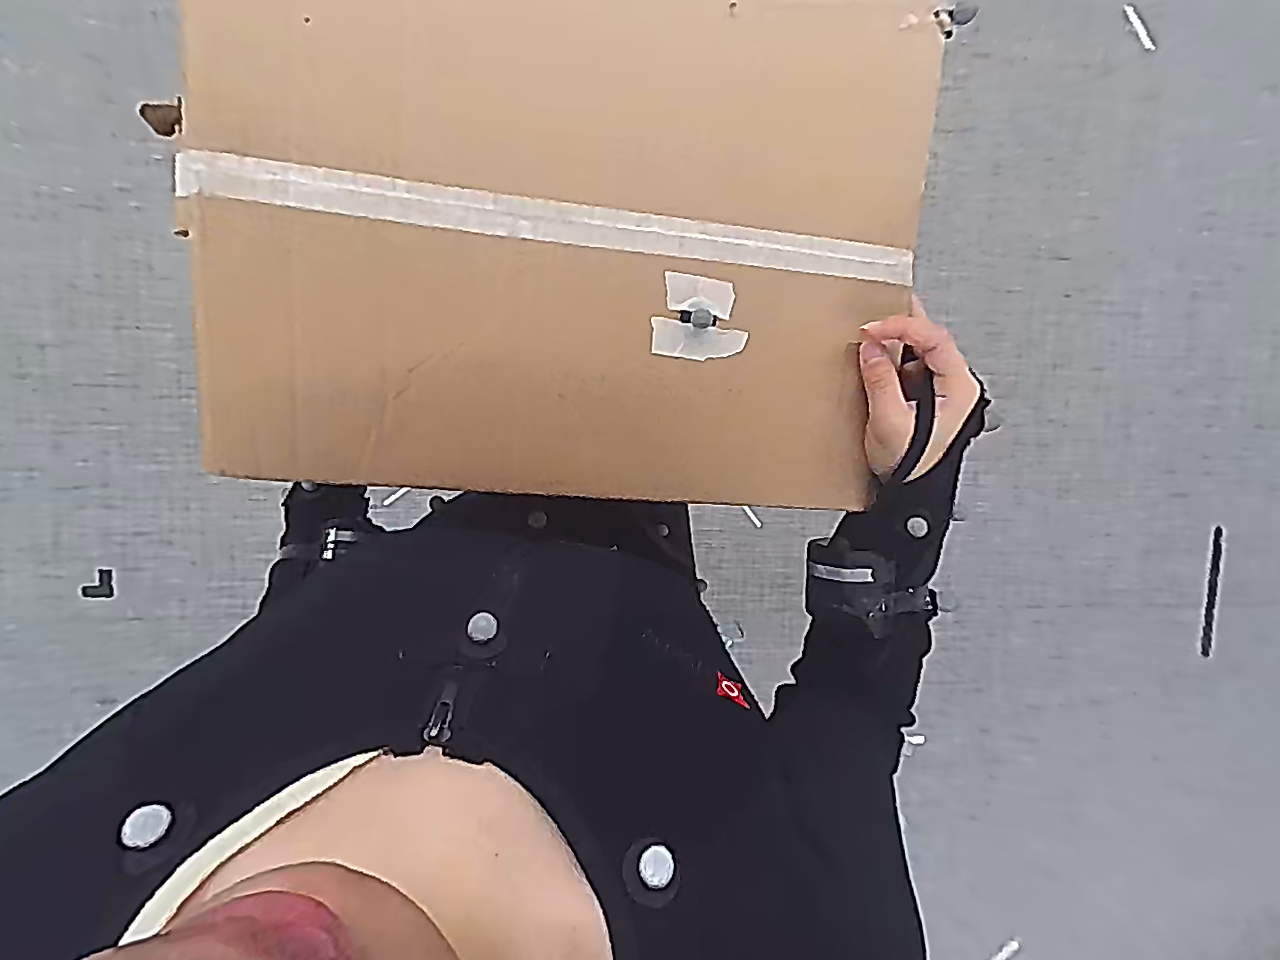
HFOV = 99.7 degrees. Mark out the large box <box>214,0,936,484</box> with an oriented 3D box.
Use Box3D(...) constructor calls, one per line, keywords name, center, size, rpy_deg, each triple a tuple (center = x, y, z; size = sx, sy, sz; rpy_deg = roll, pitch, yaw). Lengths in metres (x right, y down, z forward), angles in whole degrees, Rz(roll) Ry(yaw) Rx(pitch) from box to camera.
Box3D(name="large box", center=(-0.050, -0.179, 0.460), size=(0.408, 0.320, 0.320), rpy_deg=(3, 100, -11))
